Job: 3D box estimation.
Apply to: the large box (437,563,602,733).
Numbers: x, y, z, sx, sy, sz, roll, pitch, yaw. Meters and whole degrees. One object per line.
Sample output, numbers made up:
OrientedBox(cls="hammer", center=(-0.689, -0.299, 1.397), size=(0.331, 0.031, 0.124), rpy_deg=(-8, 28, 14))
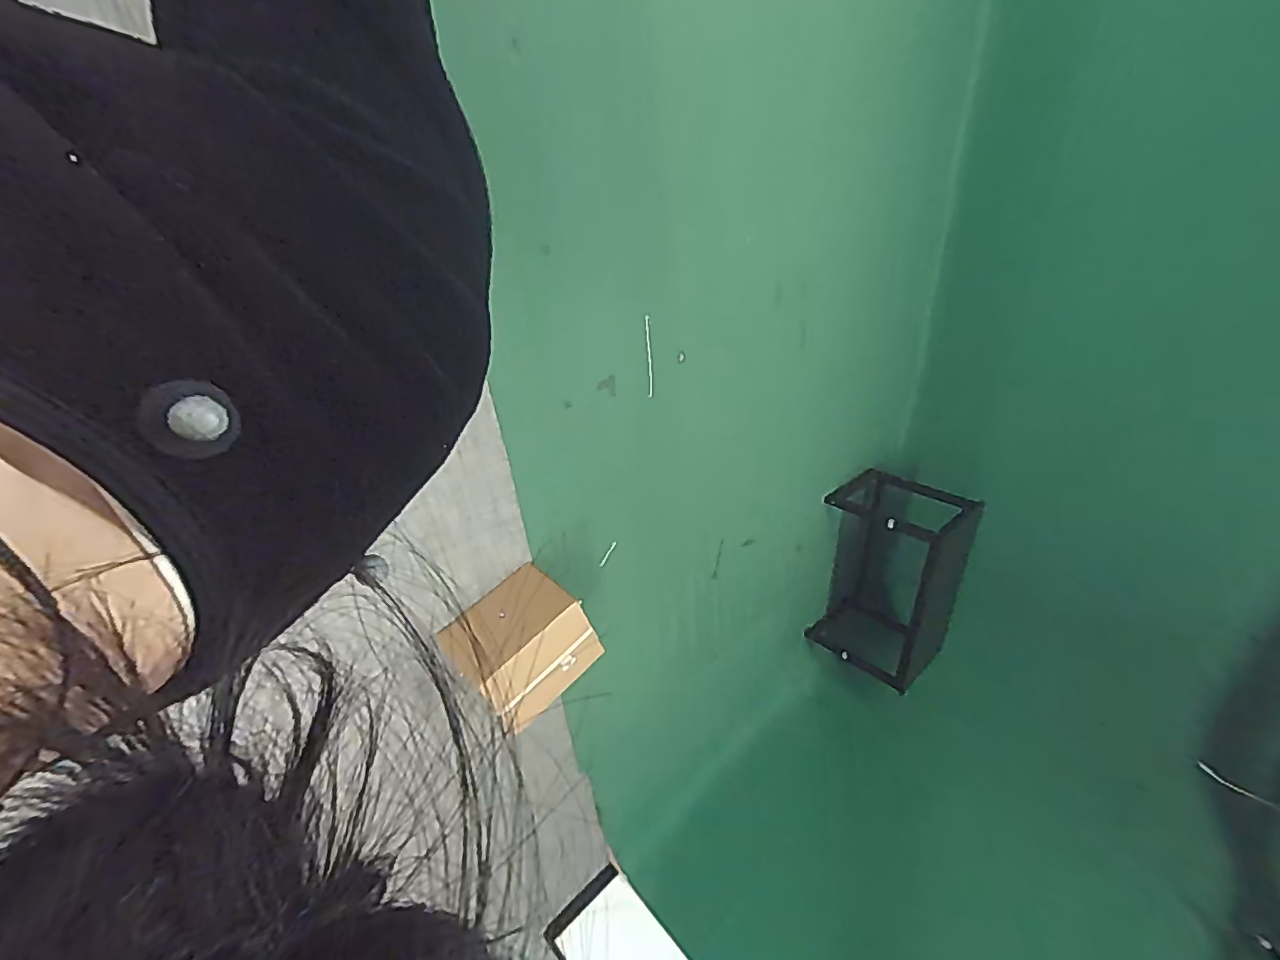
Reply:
OrientedBox(cls="large box", center=(-0.412, 0.572, 1.888), size=(0.408, 0.320, 0.320), rpy_deg=(-40, 133, -25))
